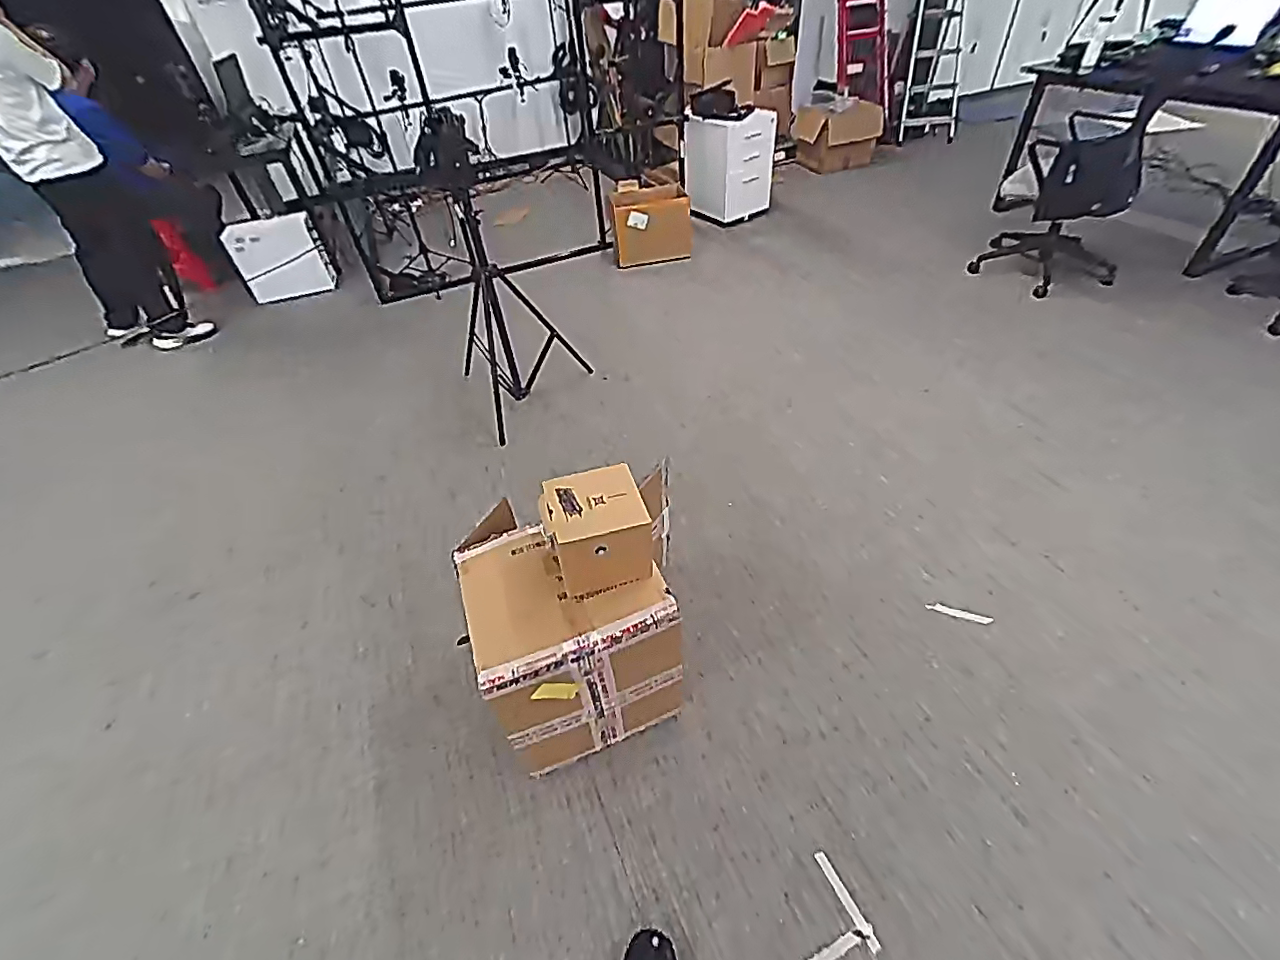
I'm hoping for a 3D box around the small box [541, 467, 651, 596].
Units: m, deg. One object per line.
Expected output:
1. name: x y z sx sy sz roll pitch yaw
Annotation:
1. small box: -0.083 0.104 1.064 0.179 0.176 0.168 -13 46 -11
